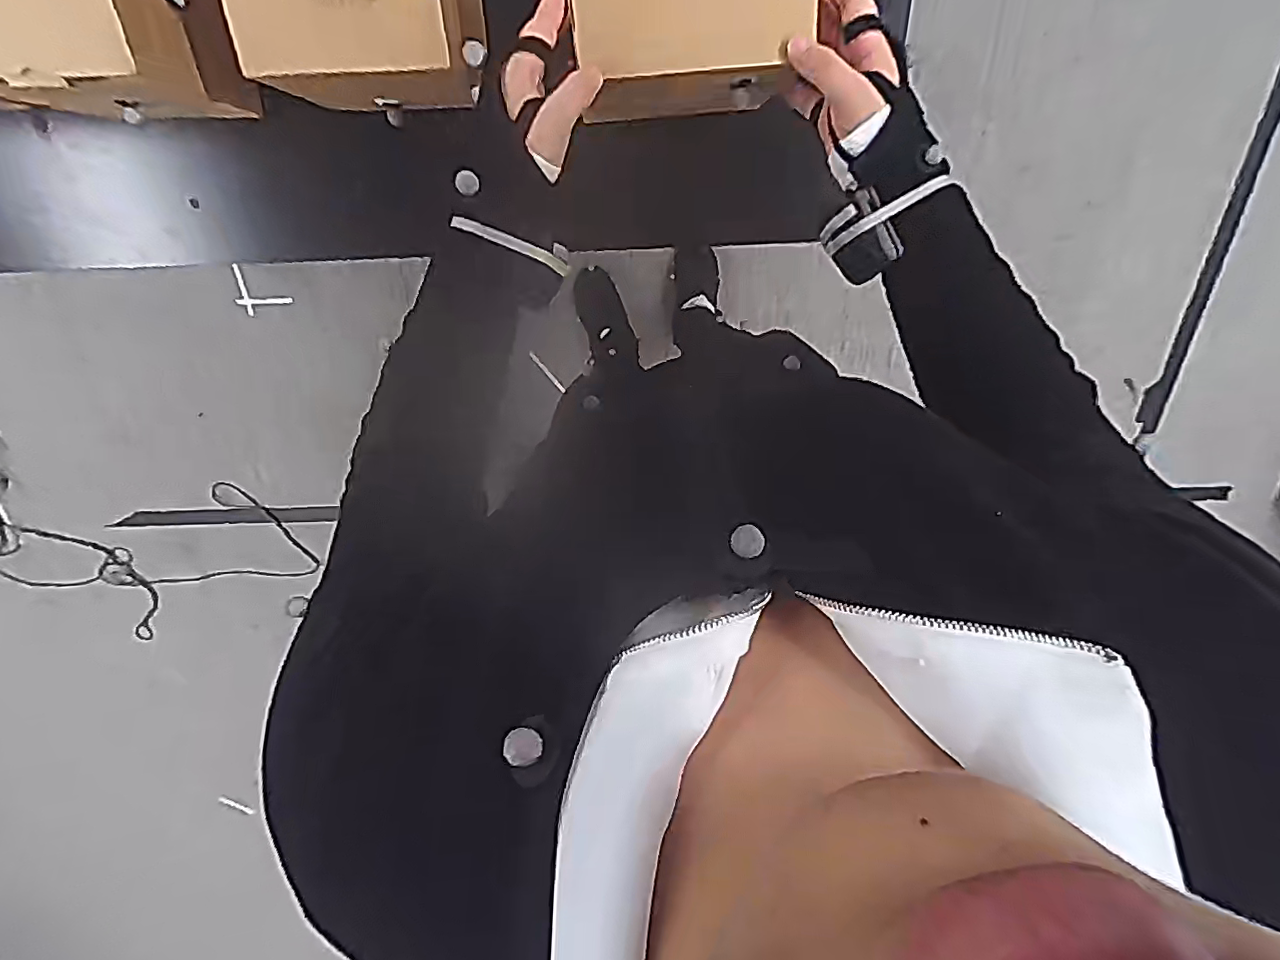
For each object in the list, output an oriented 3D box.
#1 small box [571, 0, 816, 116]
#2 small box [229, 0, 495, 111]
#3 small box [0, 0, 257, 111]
[{"bbox_3d":[0.031,-0.409,0.435,0.179,0.176,0.168,-5,115,-1],"label":"small box"},{"bbox_3d":[-0.232,-0.437,0.463,0.168,0.176,0.179,-3,117,0],"label":"small box"},{"bbox_3d":[-0.470,-0.425,0.455,0.168,0.176,0.179,-3,116,-3],"label":"small box"}]
